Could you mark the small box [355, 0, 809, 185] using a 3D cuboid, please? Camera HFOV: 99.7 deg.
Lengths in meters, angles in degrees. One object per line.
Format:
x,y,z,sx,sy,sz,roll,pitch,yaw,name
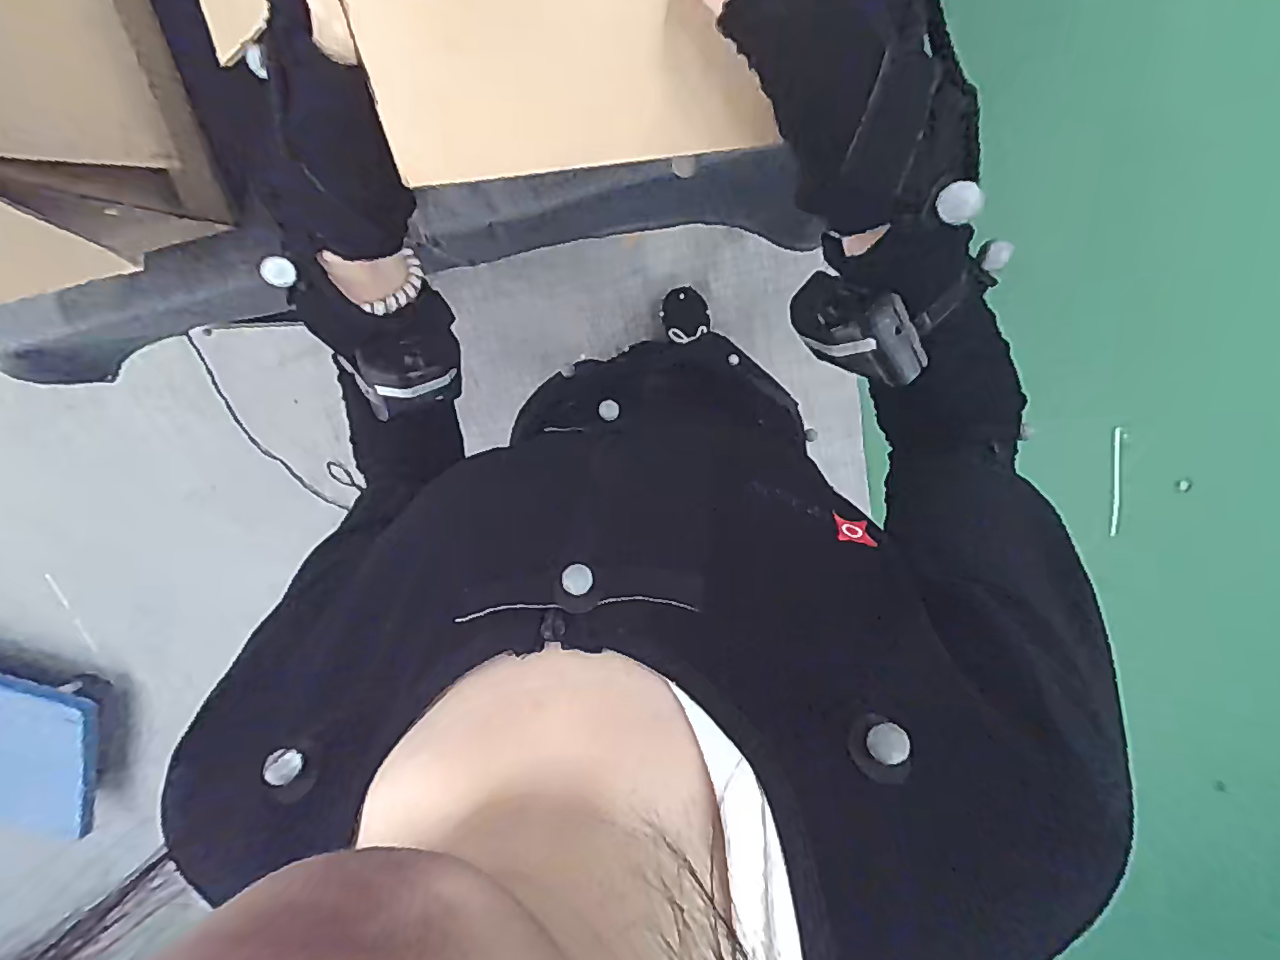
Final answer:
-0.027,-0.255,0.251,0.179,0.176,0.168,-5,132,2,small box
